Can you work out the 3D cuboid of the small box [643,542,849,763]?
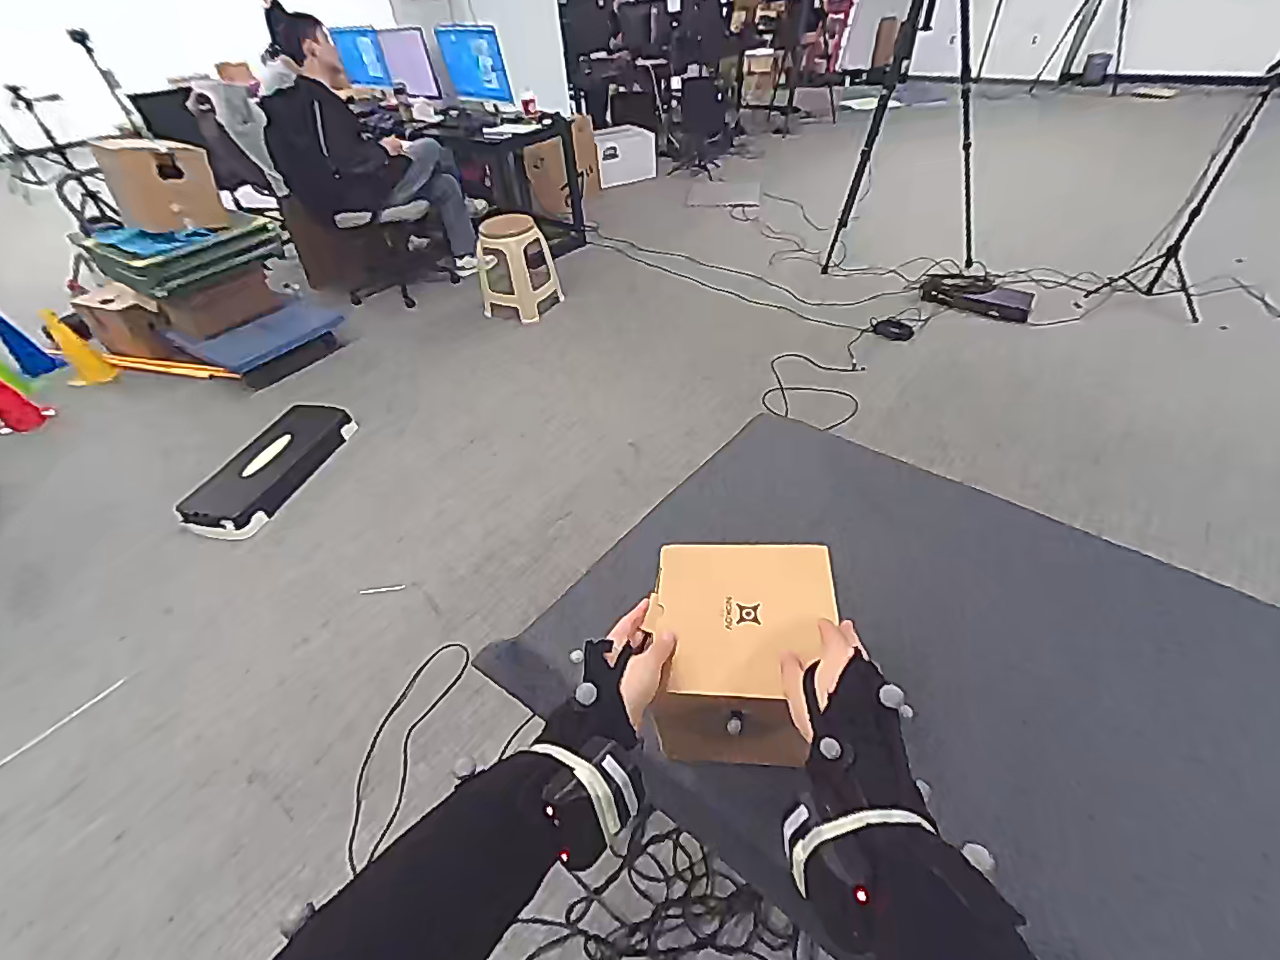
[{"bbox_3d":[0.108,0.182,0.569,0.179,0.176,0.168,-1,45,11],"label":"small box"}]
